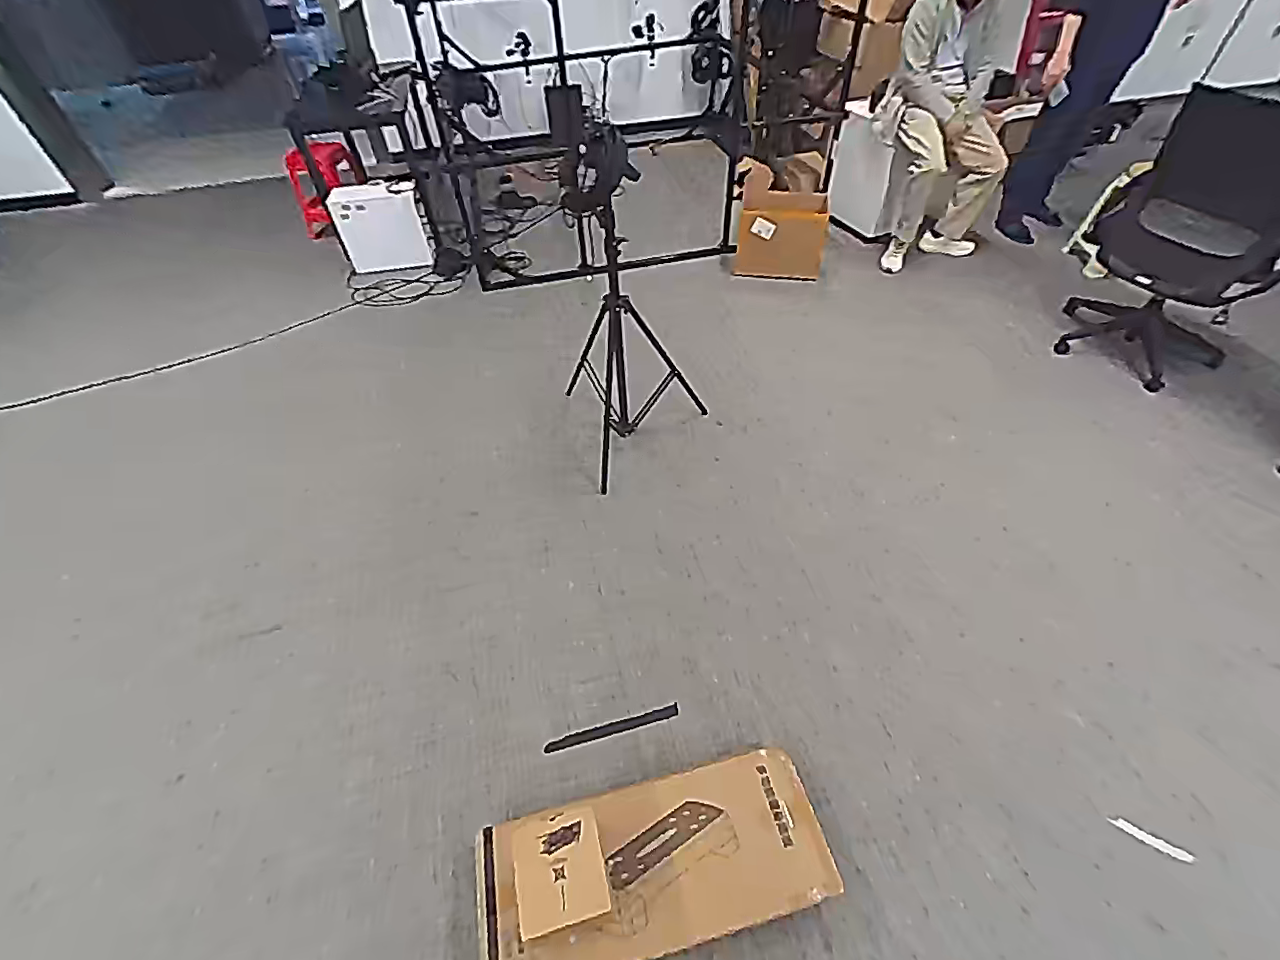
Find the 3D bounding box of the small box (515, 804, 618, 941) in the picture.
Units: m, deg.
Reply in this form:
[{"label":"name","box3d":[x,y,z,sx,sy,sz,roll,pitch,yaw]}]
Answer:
[{"label":"small box","box3d":[-0.145,0.779,1.073,0.168,0.176,0.179,-13,49,-9]}]
